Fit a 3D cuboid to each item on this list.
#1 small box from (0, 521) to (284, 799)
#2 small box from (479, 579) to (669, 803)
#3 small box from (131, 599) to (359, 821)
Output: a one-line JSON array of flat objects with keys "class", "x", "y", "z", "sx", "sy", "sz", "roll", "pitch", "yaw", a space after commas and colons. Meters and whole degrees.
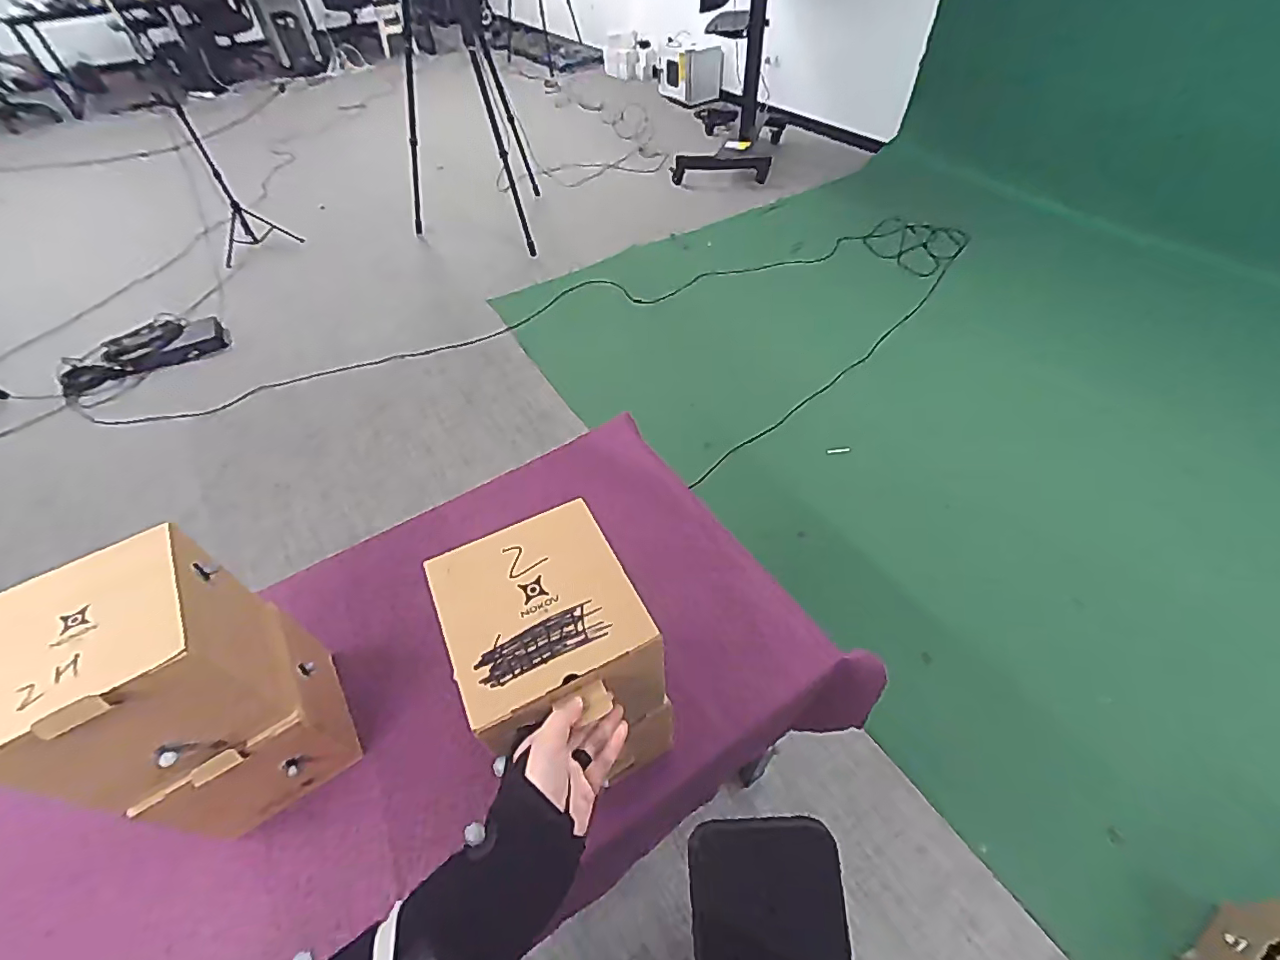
[{"class": "small box", "x": -0.499, "y": 0.181, "z": 0.545, "sx": 0.168, "sy": 0.176, "sz": 0.179, "roll": -29, "pitch": 54, "yaw": -20}, {"class": "small box", "x": -0.078, "y": 0.261, "z": 0.669, "sx": 0.168, "sy": 0.176, "sz": 0.179, "roll": -24, "pitch": 53, "yaw": -16}, {"class": "small box", "x": -0.479, "y": 0.289, "z": 0.669, "sx": 0.168, "sy": 0.176, "sz": 0.179, "roll": -28, "pitch": 53, "yaw": -20}]
